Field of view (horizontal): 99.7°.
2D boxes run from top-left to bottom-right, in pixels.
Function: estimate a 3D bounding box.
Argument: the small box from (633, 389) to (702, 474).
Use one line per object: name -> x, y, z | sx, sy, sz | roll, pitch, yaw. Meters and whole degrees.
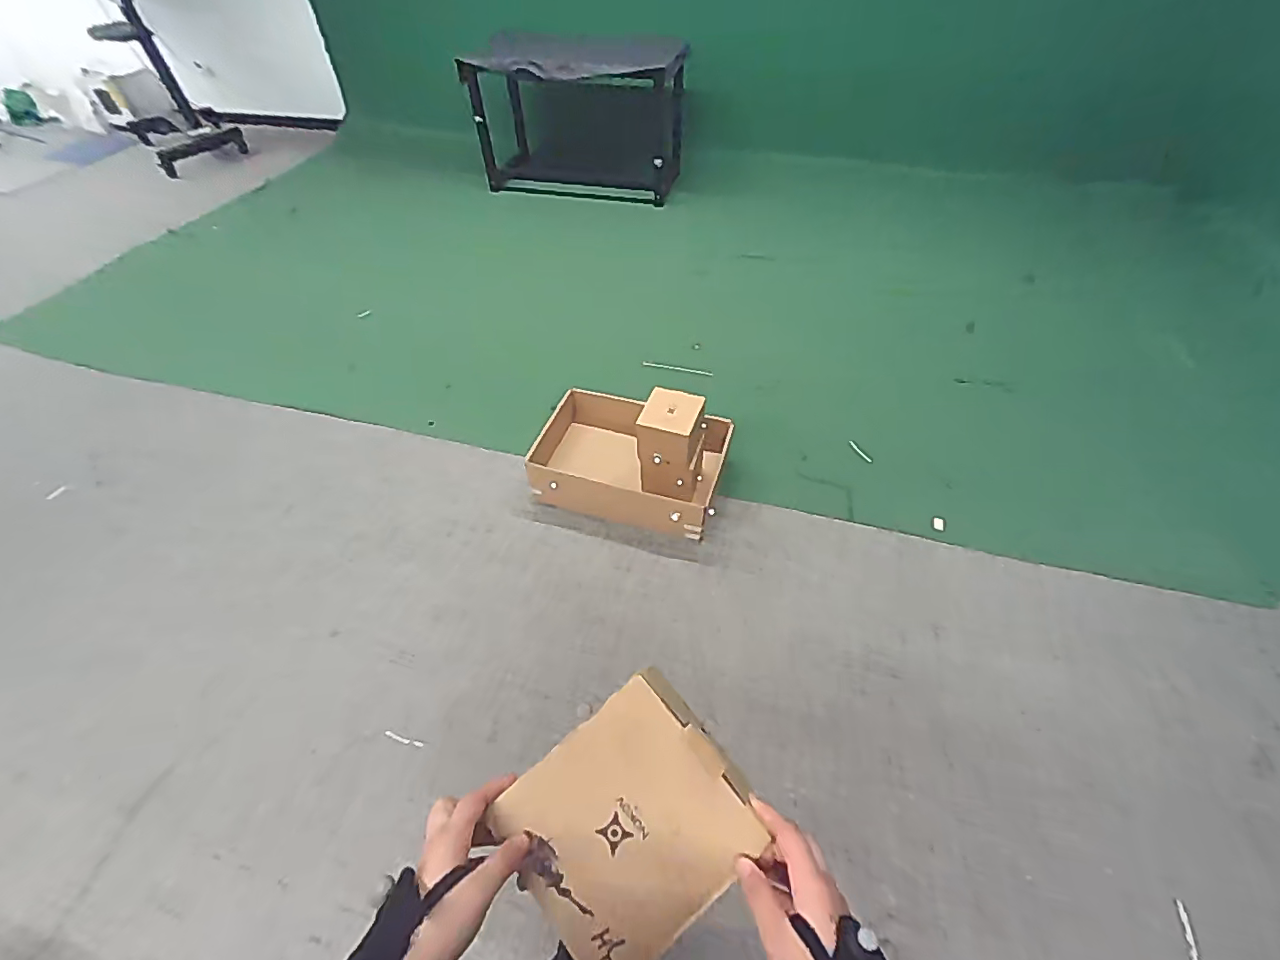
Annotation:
small box -> 0.086, -0.150, 1.664 | 0.168, 0.176, 0.179 | 14, 53, 15
